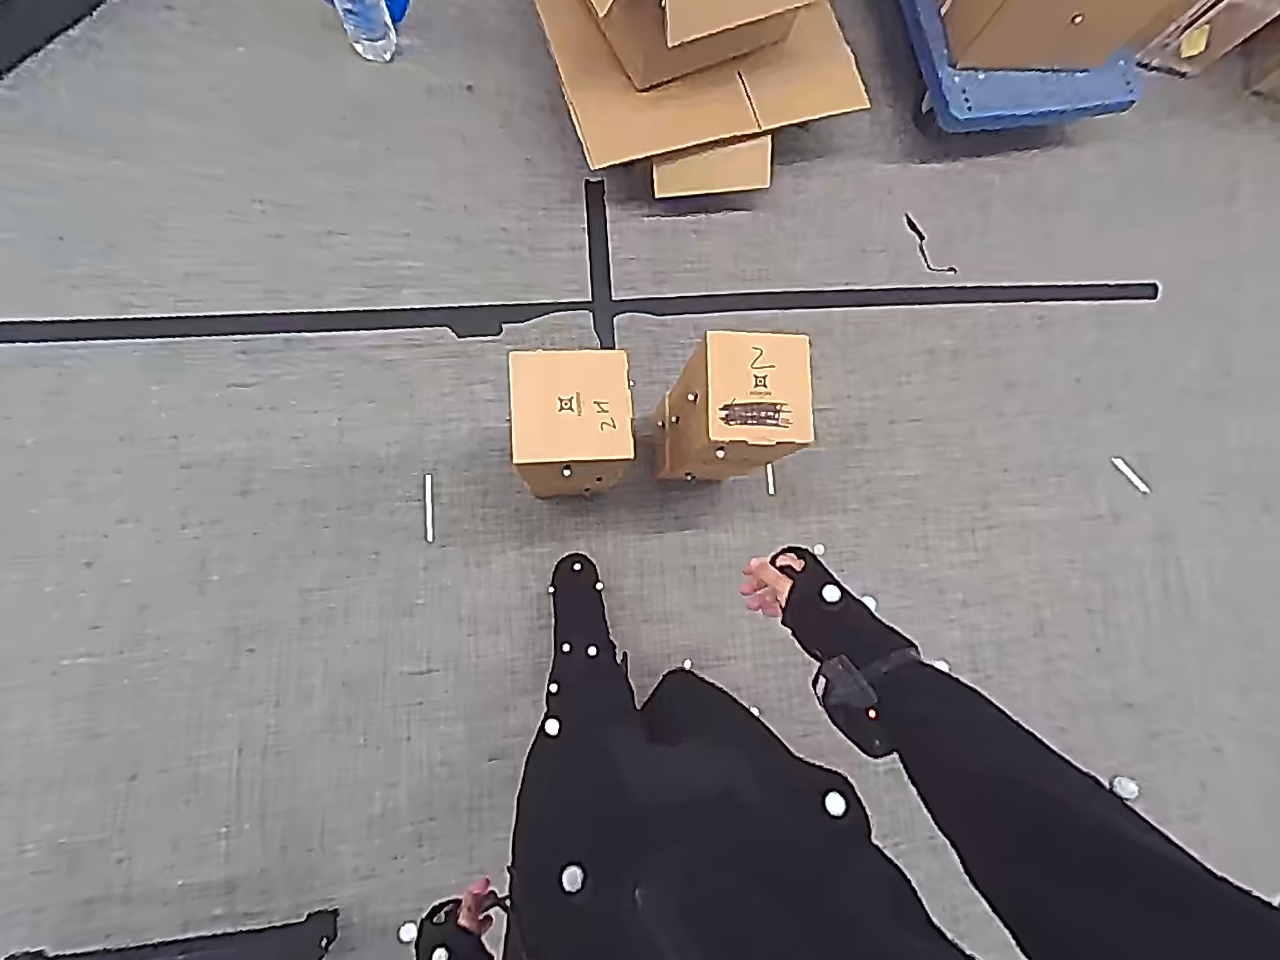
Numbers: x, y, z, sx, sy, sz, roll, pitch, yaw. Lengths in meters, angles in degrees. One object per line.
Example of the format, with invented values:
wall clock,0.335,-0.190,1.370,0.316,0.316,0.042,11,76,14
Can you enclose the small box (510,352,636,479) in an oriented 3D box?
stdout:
small box,-0.107,-0.094,0.853,0.179,0.176,0.168,-3,83,-10

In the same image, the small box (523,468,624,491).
small box,-0.130,-0.072,1.015,0.179,0.176,0.168,-3,83,-10

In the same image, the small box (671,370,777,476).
small box,0.157,-0.103,1.056,0.168,0.176,0.179,0,82,-8

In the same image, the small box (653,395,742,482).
small box,0.130,-0.088,1.218,0.179,0.176,0.168,1,83,-9

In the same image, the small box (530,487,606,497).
small box,-0.156,-0.059,1.174,0.168,0.176,0.179,-4,82,-10
